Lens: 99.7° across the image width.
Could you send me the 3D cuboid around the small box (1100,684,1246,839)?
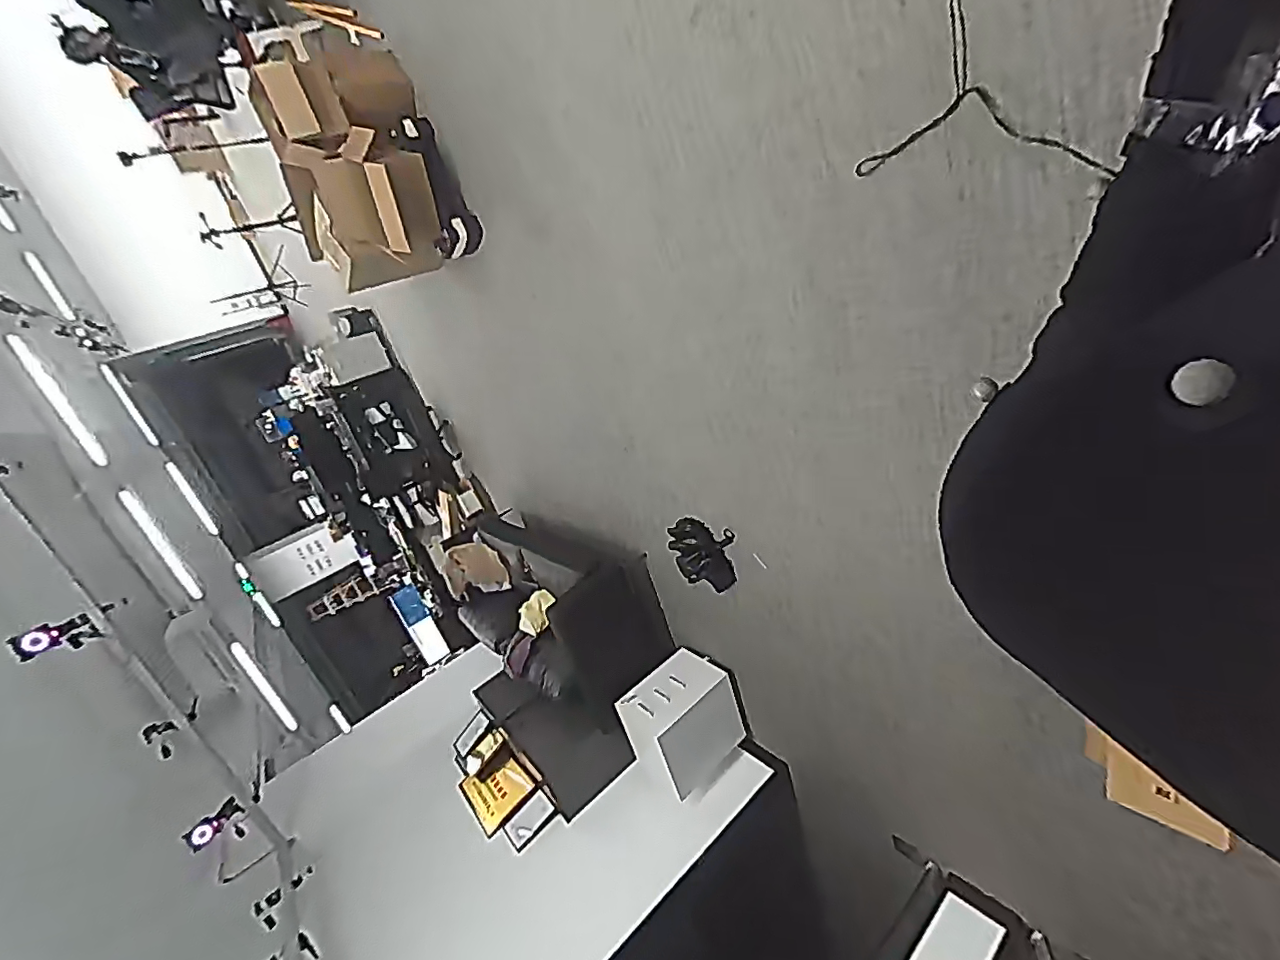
[{"bbox_3d":[1.042,0.537,1.061,0.179,0.176,0.168,12,125,54],"label":"small box"}]
